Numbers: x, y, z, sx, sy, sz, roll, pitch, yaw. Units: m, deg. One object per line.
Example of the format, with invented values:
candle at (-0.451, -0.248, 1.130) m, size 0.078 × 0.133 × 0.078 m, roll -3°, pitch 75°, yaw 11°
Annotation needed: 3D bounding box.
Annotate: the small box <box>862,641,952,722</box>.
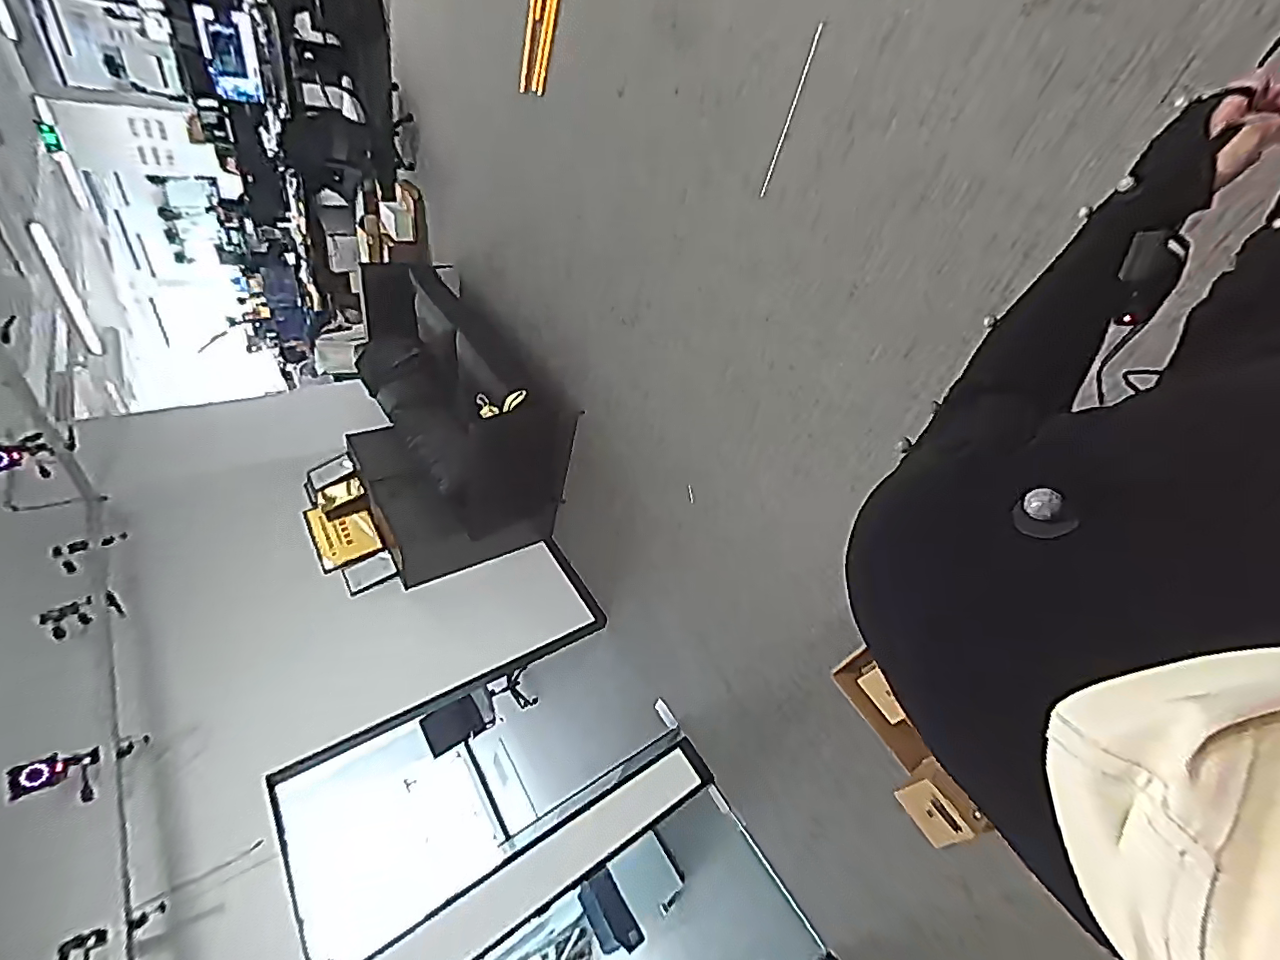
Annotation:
small box at (0.887, 0.666, 1.793) m, size 0.168 × 0.176 × 0.179 m, roll 53°, pitch 142°, yaw 26°
